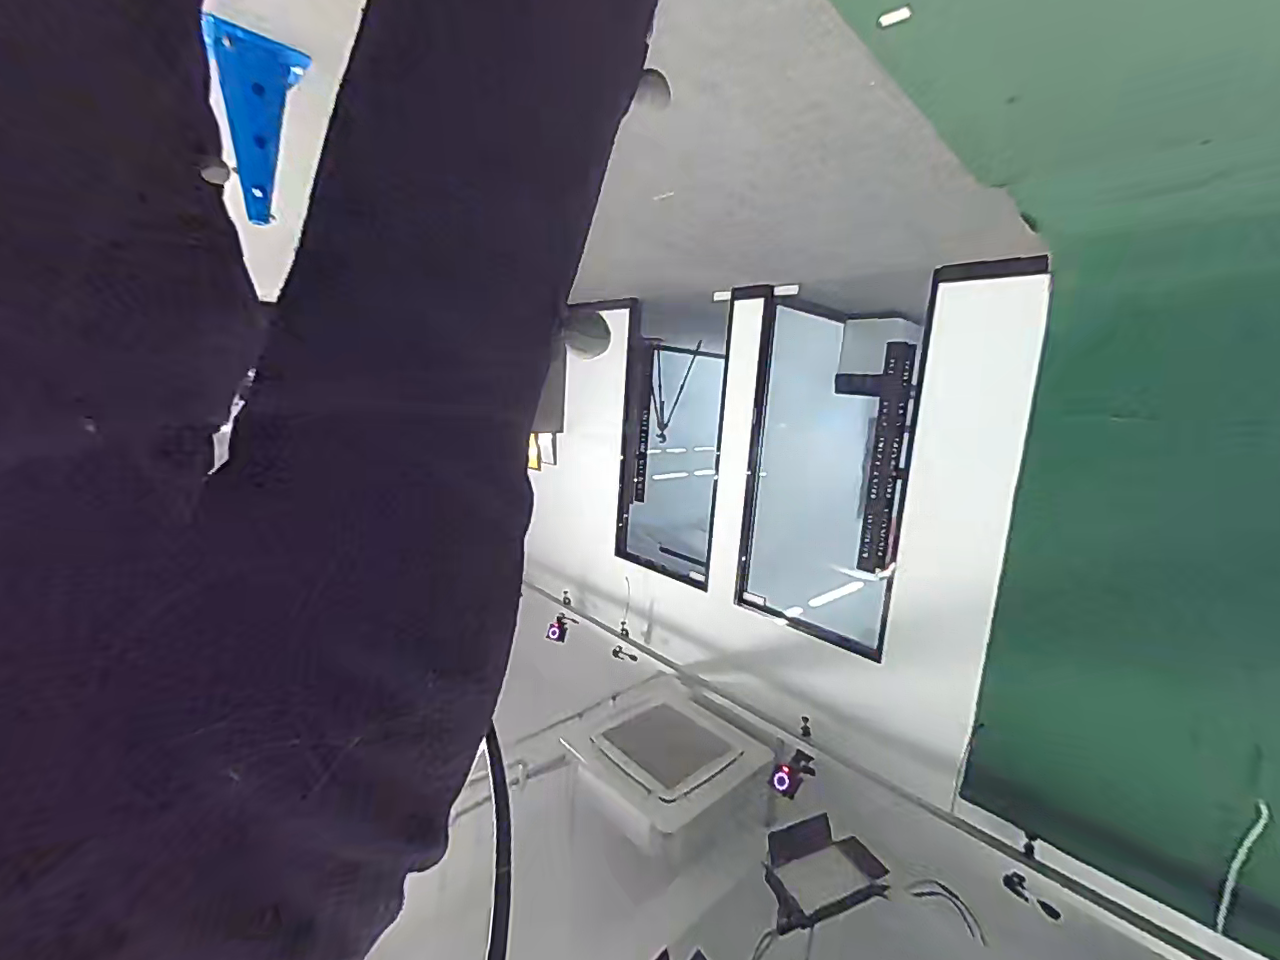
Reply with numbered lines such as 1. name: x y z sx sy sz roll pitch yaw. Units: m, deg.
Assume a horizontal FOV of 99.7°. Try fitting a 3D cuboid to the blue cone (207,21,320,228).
1. blue cone: -0.843 -0.779 1.224 0.192 0.380 0.193 -6 -166 -44
